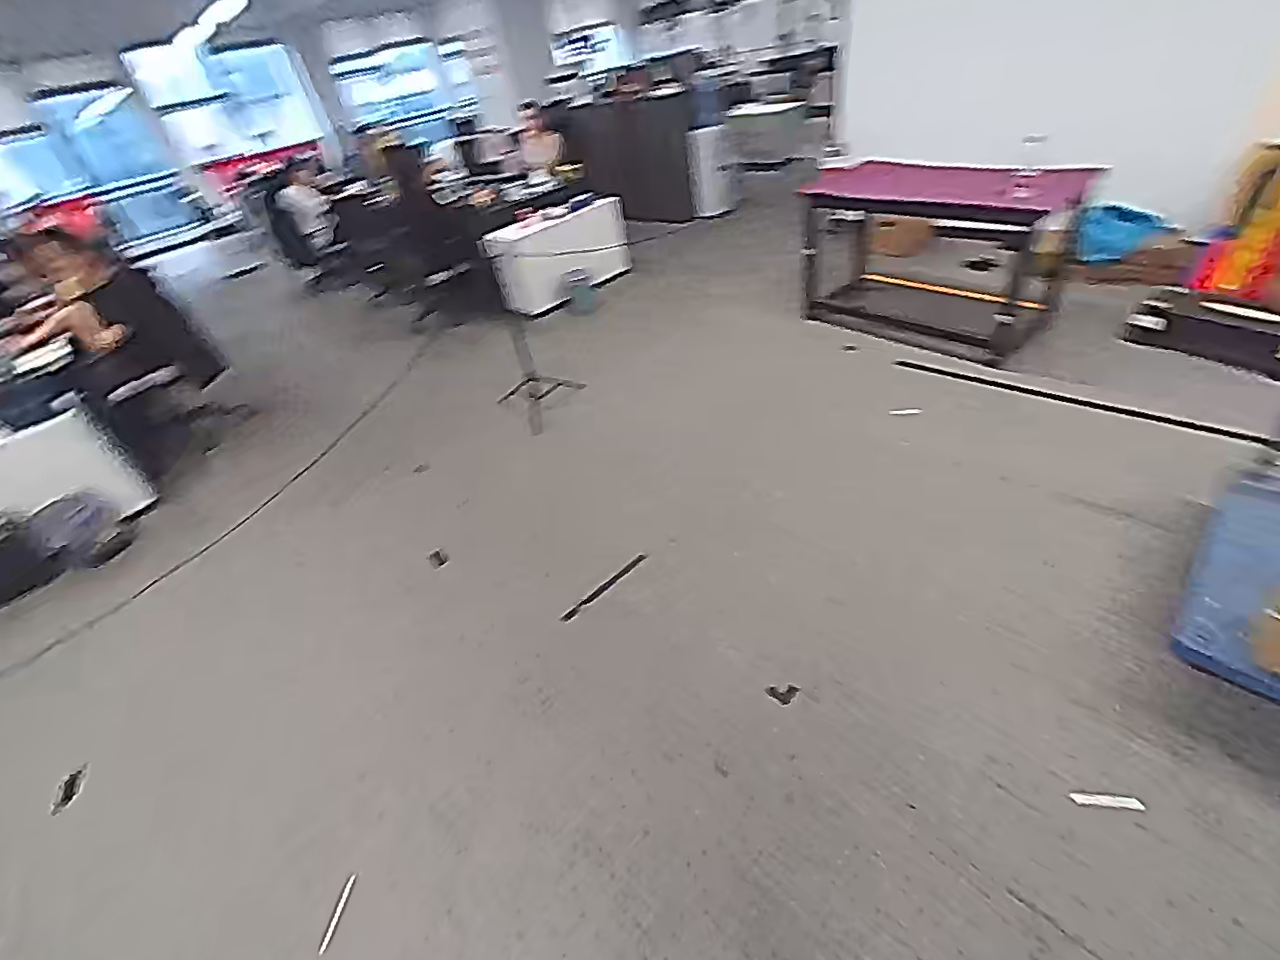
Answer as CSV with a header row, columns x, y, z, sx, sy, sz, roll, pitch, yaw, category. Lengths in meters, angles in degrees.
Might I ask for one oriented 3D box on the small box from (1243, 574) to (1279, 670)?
x,y,z,sx,sy,sz,roll,pitch,yaw,category
1.513,0.337,1.211,0.168,0.176,0.179,26,51,37,small box
